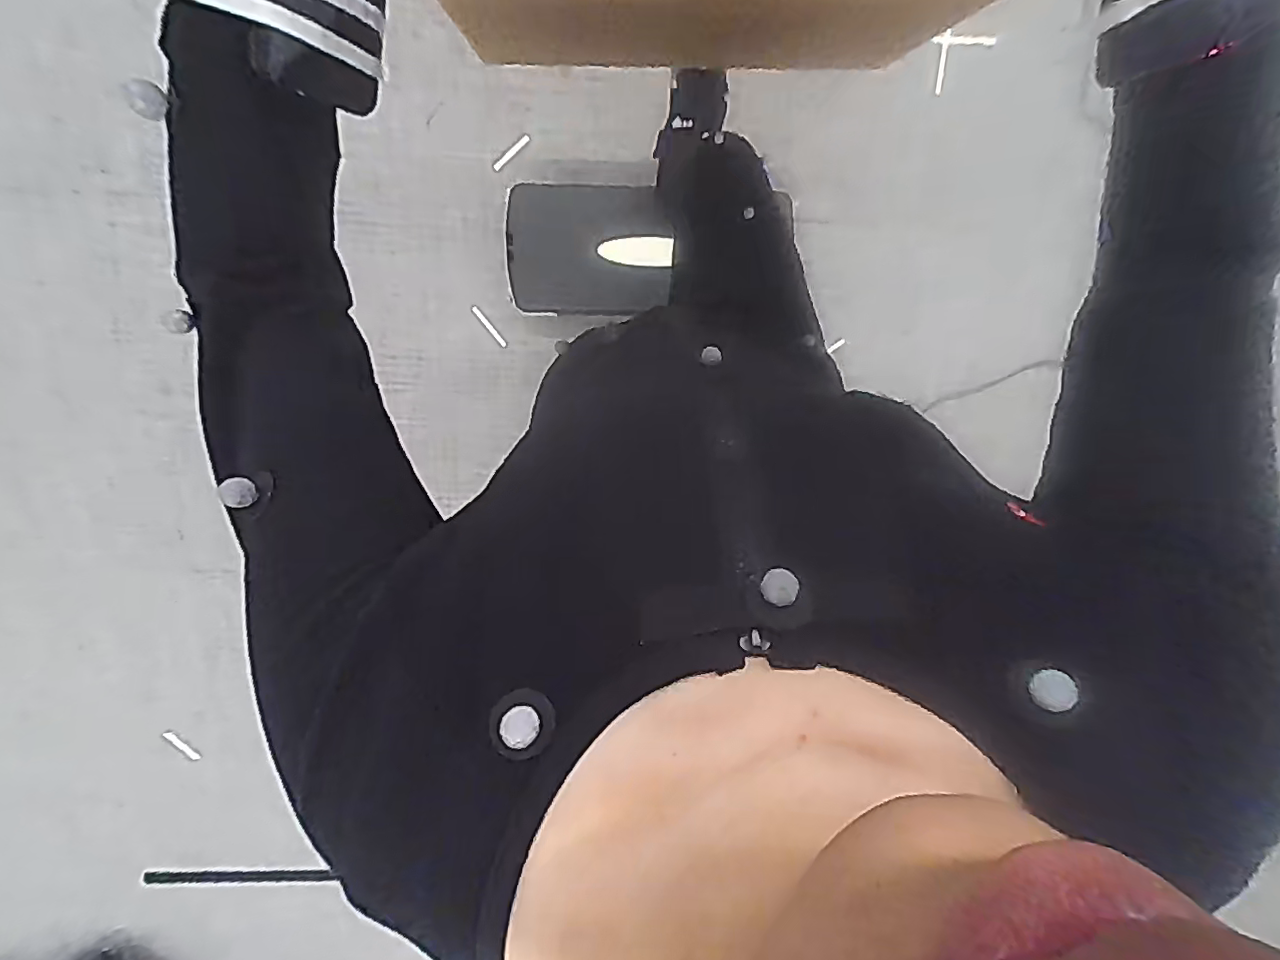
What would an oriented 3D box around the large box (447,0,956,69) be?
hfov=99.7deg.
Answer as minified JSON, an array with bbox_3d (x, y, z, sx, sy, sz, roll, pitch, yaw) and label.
[{"bbox_3d":[0.048,-0.497,0.345,0.408,0.320,0.320,-2,115,-3],"label":"large box"}]
